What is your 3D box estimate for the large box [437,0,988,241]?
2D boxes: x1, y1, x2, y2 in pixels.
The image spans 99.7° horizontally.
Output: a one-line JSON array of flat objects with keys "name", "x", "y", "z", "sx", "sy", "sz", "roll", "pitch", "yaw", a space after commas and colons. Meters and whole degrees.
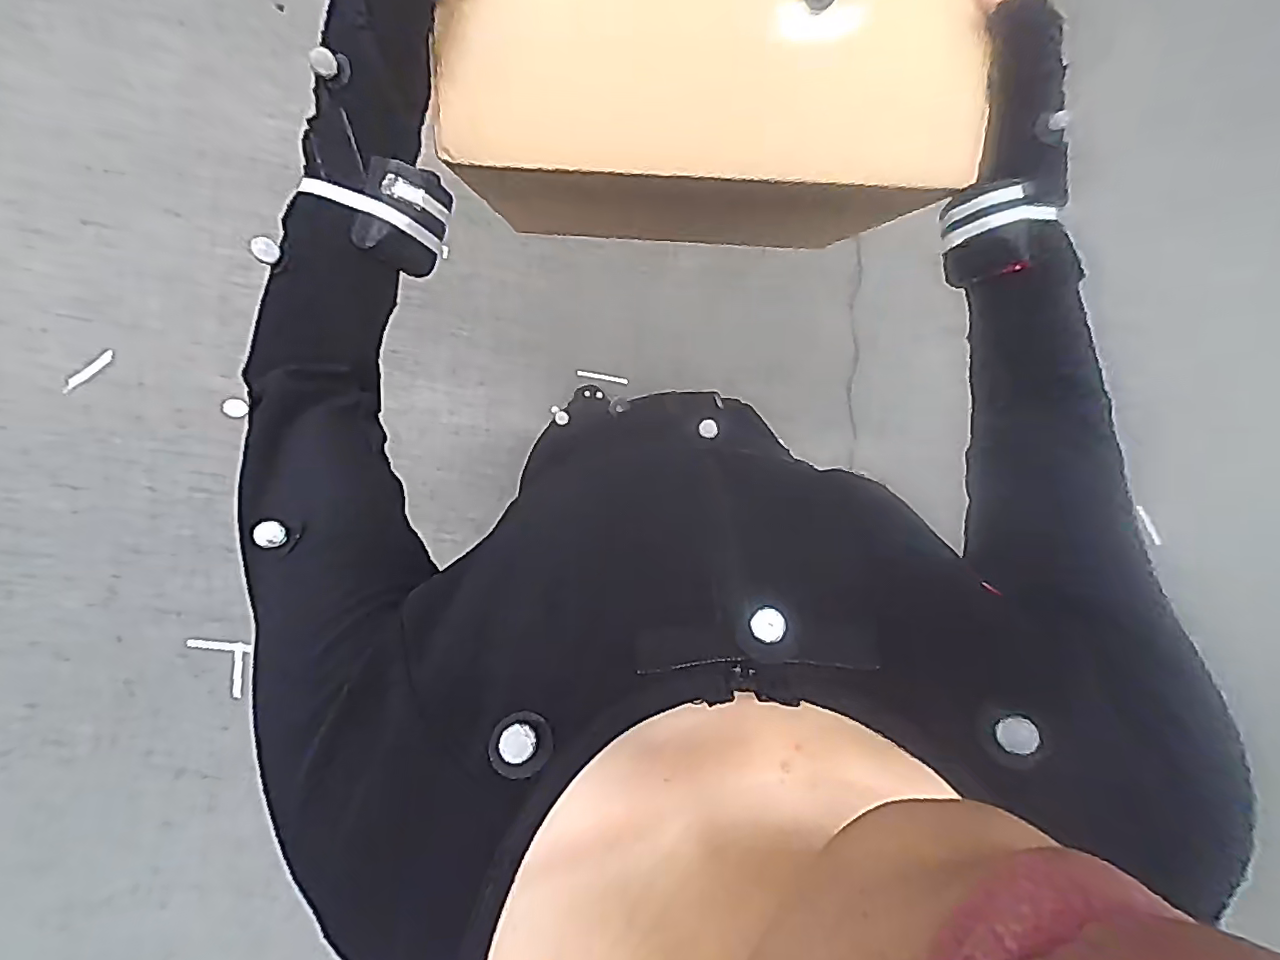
[{"name": "large box", "x": 0.048, "y": -0.424, "z": 0.518, "sx": 0.408, "sy": 0.320, "sz": 0.320, "roll": 1, "pitch": 106, "yaw": -3}]
